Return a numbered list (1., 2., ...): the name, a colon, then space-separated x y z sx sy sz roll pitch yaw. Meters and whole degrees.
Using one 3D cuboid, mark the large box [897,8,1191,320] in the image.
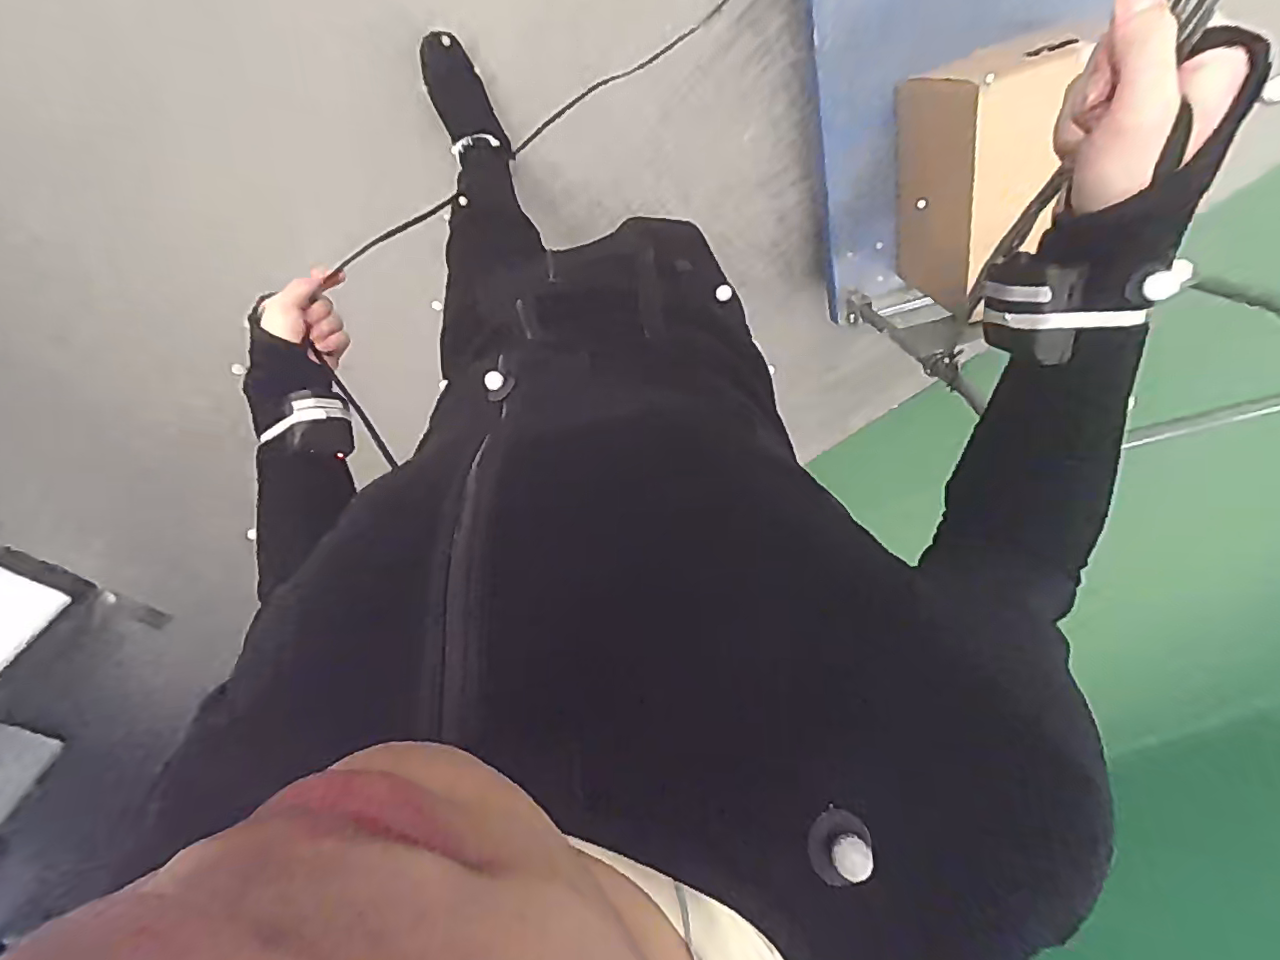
1. large box: 0.714 -0.588 1.041 0.320 0.320 0.408 -15 126 8
